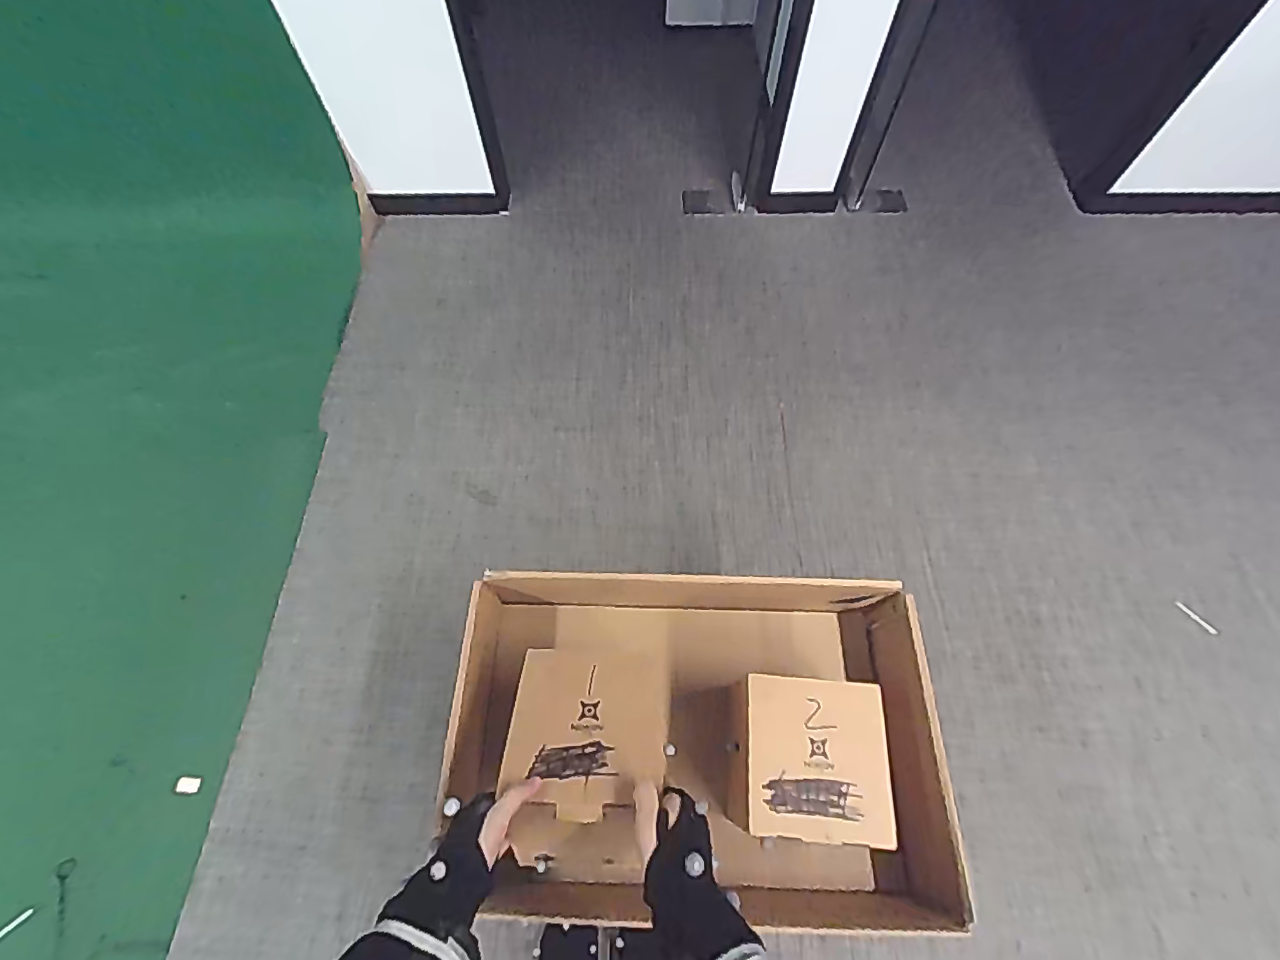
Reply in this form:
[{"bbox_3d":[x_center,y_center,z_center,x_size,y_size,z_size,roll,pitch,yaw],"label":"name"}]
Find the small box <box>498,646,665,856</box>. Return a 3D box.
[{"bbox_3d":[-0.054,0.319,0.639,0.168,0.176,0.179,0,37,2],"label":"small box"}]
